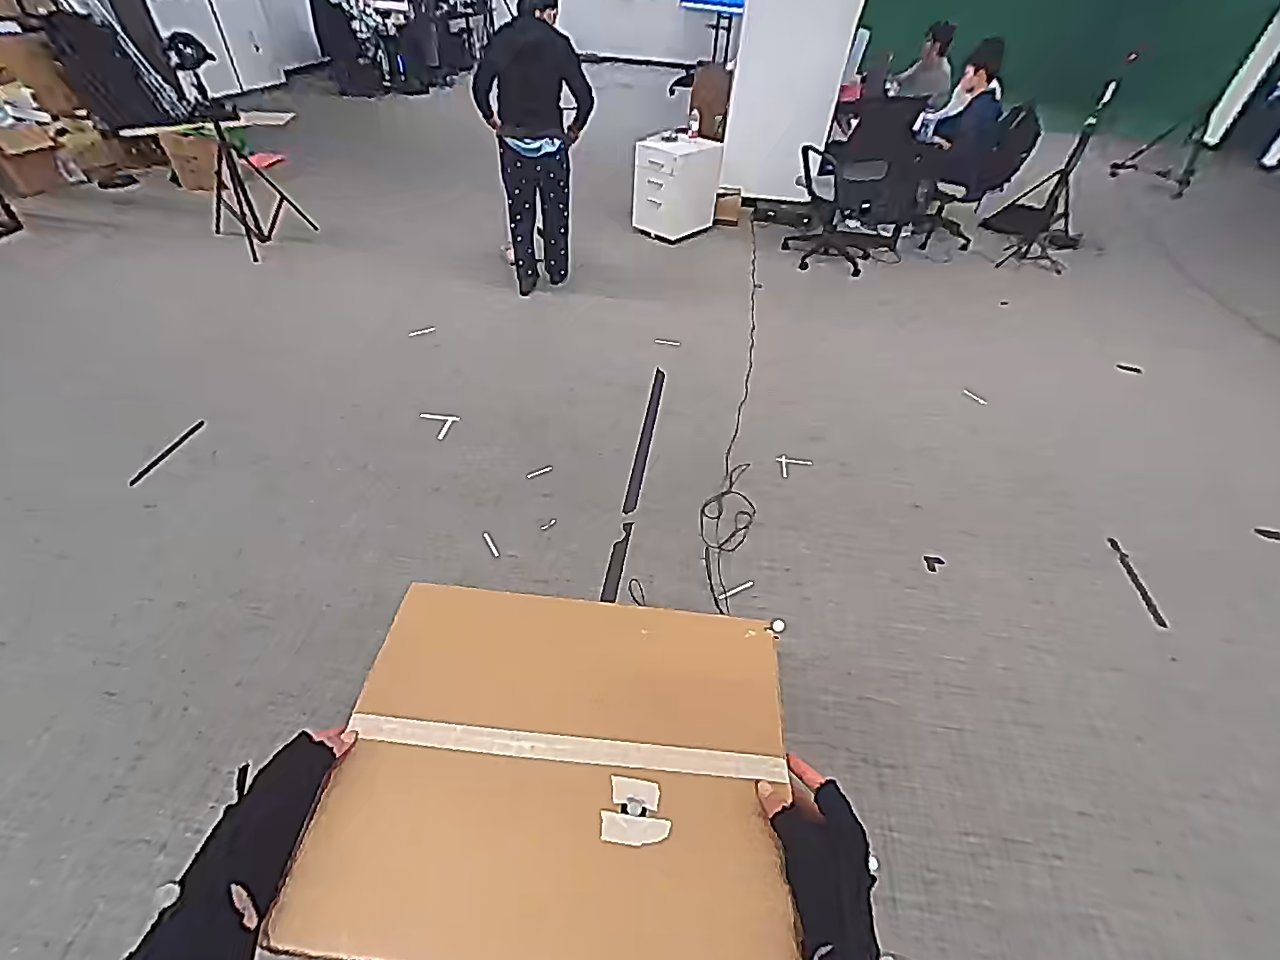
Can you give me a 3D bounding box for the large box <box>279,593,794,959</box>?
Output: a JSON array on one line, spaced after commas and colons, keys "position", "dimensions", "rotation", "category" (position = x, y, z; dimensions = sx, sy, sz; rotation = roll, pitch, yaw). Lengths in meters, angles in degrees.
[{"position": [-0.080, 0.359, 0.619], "dimensions": [0.408, 0.320, 0.320], "rotation": [6, 47, 0], "category": "large box"}]
